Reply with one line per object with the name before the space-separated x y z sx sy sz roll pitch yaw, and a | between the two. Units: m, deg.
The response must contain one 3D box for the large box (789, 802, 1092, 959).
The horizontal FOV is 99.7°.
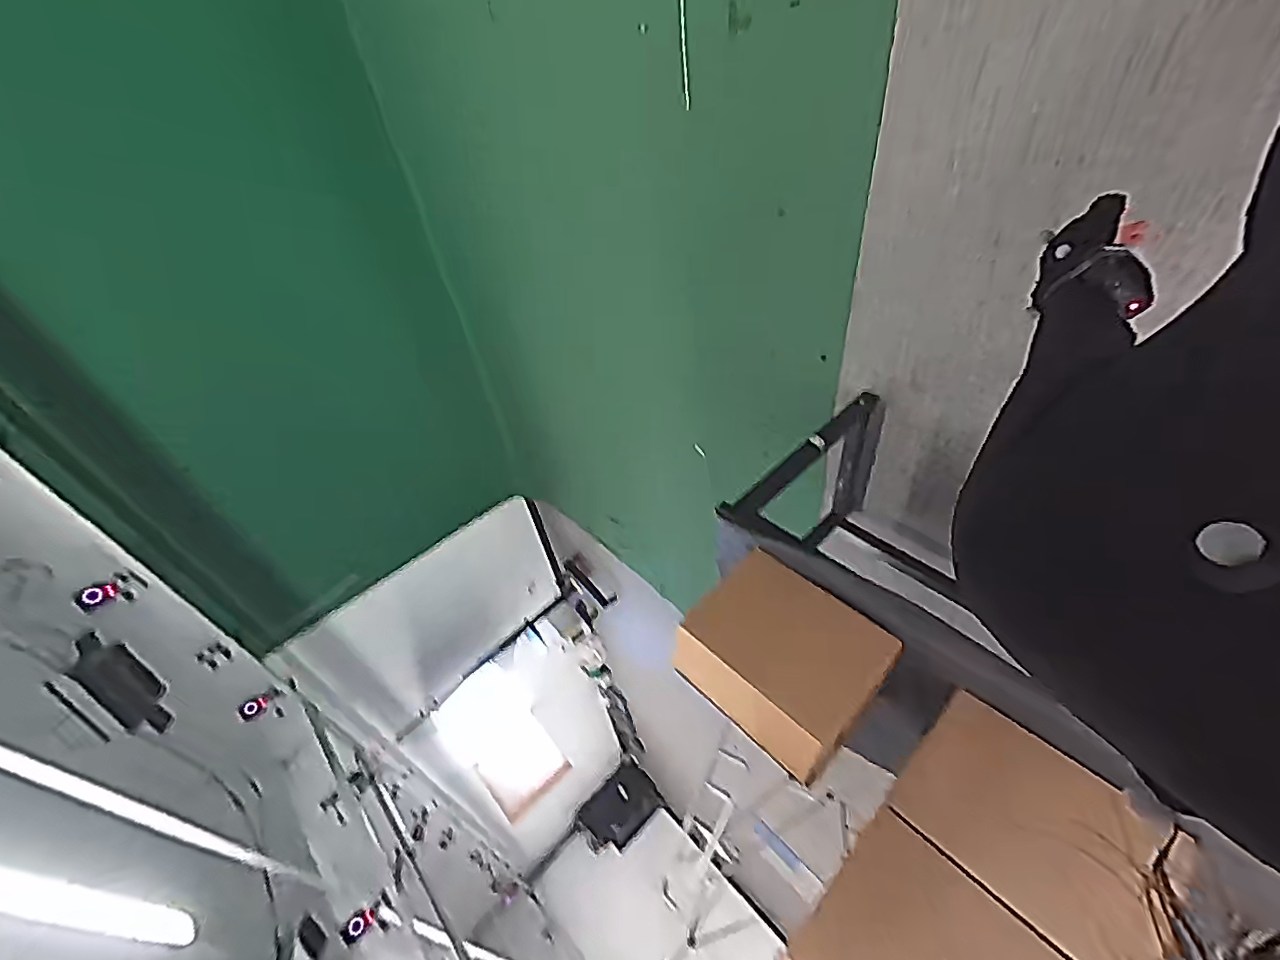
large box | 0.507 0.861 0.917 0.408 0.320 0.320 32 146 36
